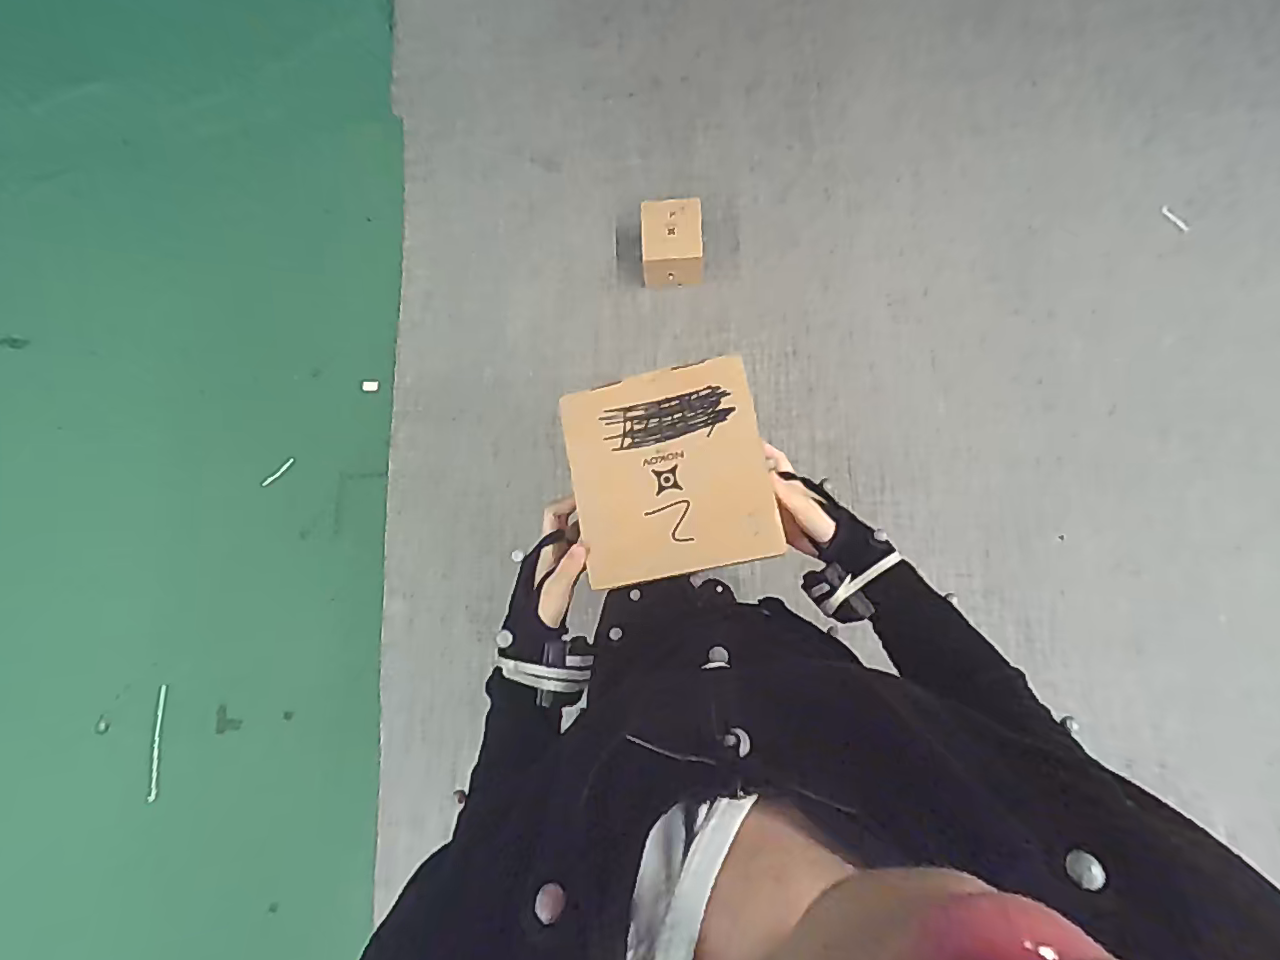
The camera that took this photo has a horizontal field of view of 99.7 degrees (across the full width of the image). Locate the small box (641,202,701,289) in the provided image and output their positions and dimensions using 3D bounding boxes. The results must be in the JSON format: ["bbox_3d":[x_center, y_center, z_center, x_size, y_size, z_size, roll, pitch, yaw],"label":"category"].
[{"bbox_3d":[0.090,-0.662,1.549,0.168,0.176,0.179,-1,82,4],"label":"small box"}]
